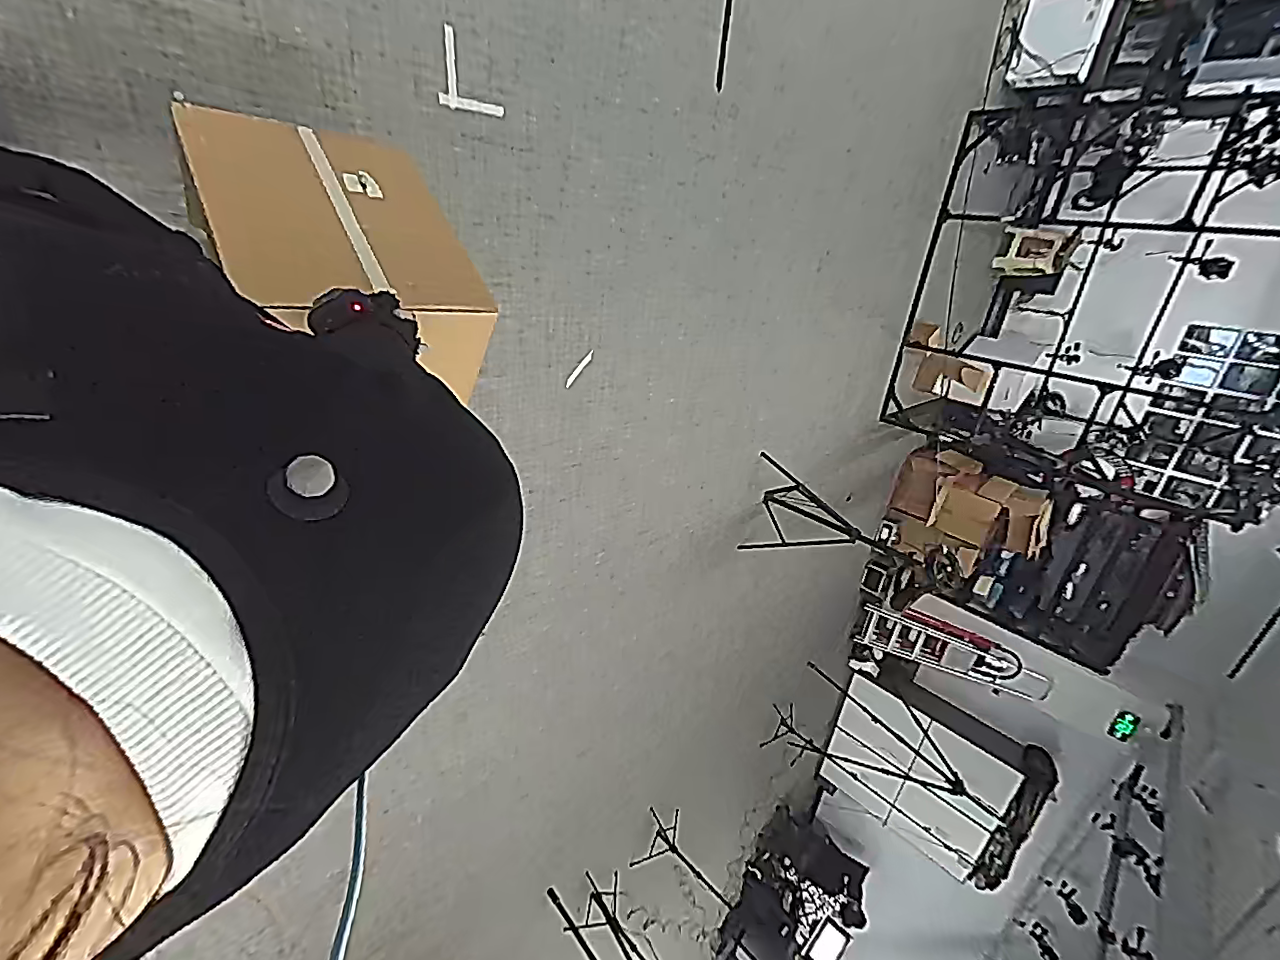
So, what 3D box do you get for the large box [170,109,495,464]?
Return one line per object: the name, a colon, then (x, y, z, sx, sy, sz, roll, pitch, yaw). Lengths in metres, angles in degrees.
large box: (-0.488, -0.291, 0.864, 0.320, 0.408, 0.320, -14, 153, -41)
